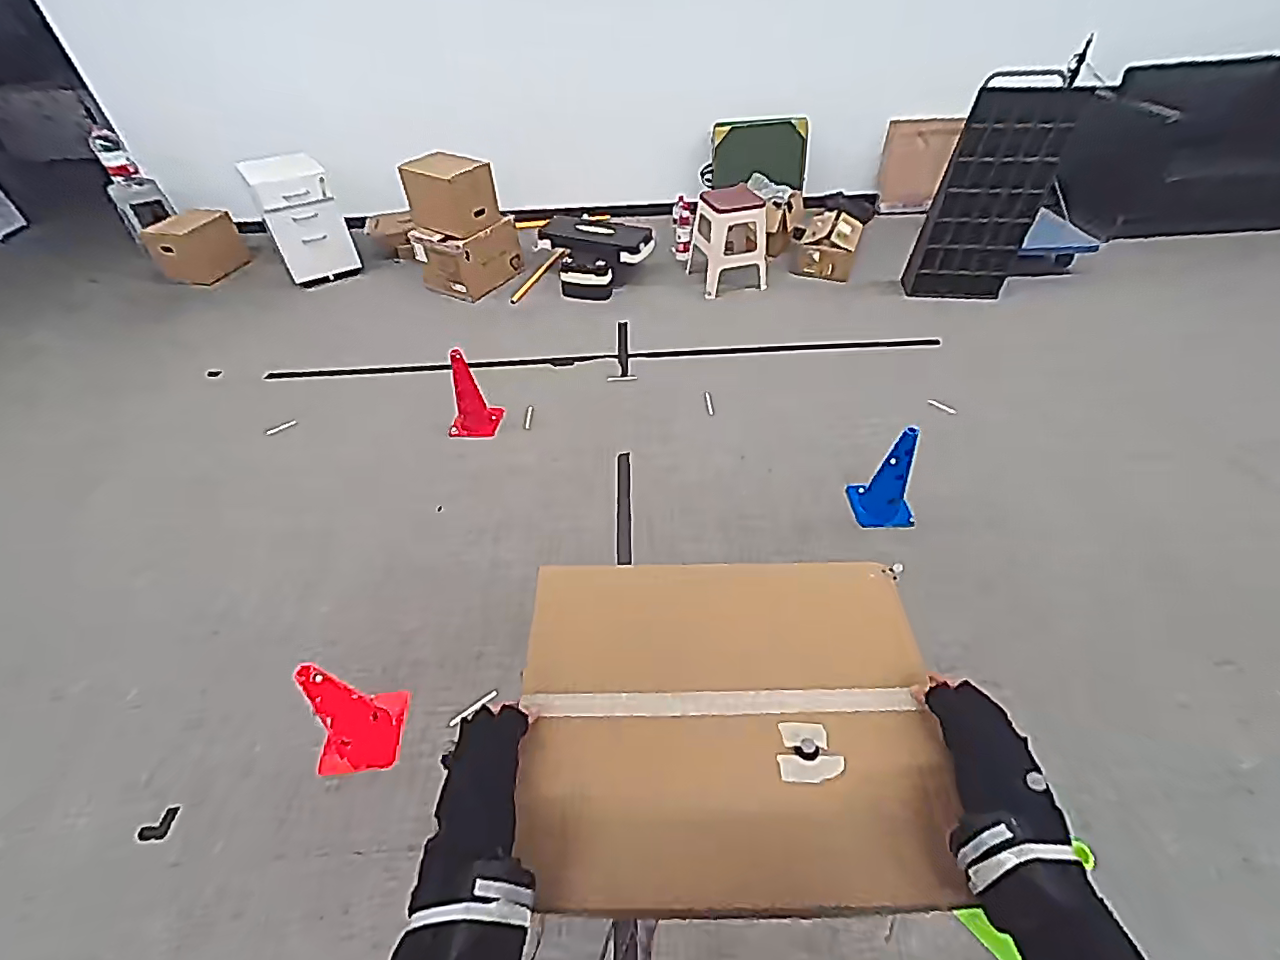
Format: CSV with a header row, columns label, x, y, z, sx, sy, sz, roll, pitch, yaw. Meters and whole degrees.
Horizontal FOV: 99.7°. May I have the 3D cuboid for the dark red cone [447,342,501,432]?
label,x,y,z,sx,sy,sz,roll,pitch,yaw
dark red cone,-0.715,-0.386,2.220,0.201,0.394,0.202,2,45,3

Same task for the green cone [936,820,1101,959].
label,x,y,z,sx,sy,sz,roll,pitch,yaw
green cone,0.764,0.758,1.042,0.202,0.368,0.200,-31,52,-27

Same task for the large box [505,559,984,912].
label,x,y,z,sx,sy,sz,roll,pitch,yaw
large box,0.084,0.310,0.649,0.408,0.320,0.320,-1,50,0

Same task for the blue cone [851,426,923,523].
label,x,y,z,sx,sy,sz,roll,pitch,yaw
blue cone,0.873,-0.030,1.848,0.192,0.380,0.193,0,45,1

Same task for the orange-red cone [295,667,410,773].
label,x,y,z,sx,sy,sz,roll,pitch,yaw
orange-red cone,-0.734,0.552,1.319,0.198,0.360,0.199,-5,46,-1
